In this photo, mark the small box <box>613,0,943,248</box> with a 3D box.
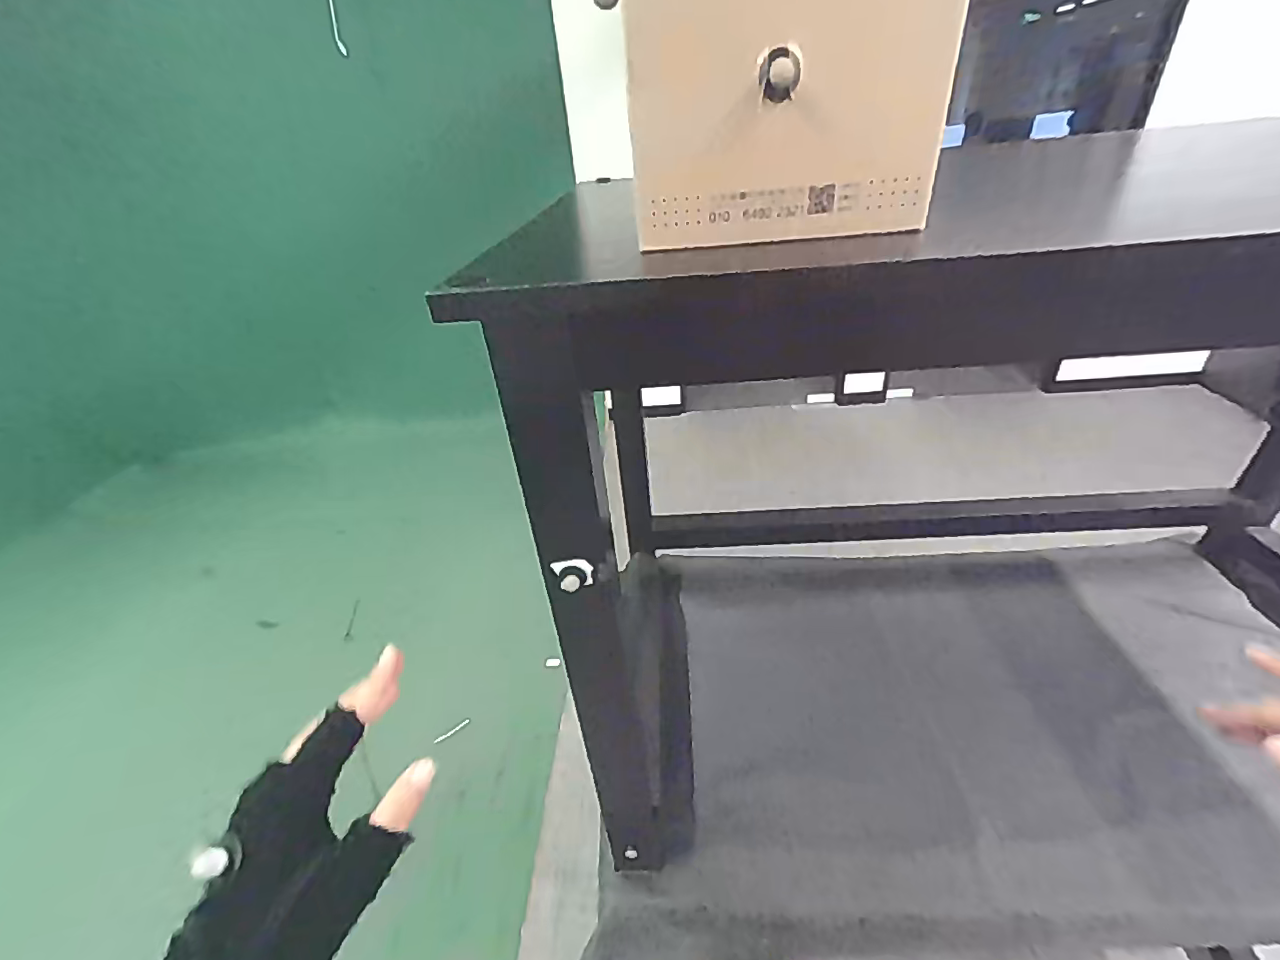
[{"bbox_3d":[0.075,-0.250,0.345,0.168,0.176,0.179,-2,33,4],"label":"small box"}]
